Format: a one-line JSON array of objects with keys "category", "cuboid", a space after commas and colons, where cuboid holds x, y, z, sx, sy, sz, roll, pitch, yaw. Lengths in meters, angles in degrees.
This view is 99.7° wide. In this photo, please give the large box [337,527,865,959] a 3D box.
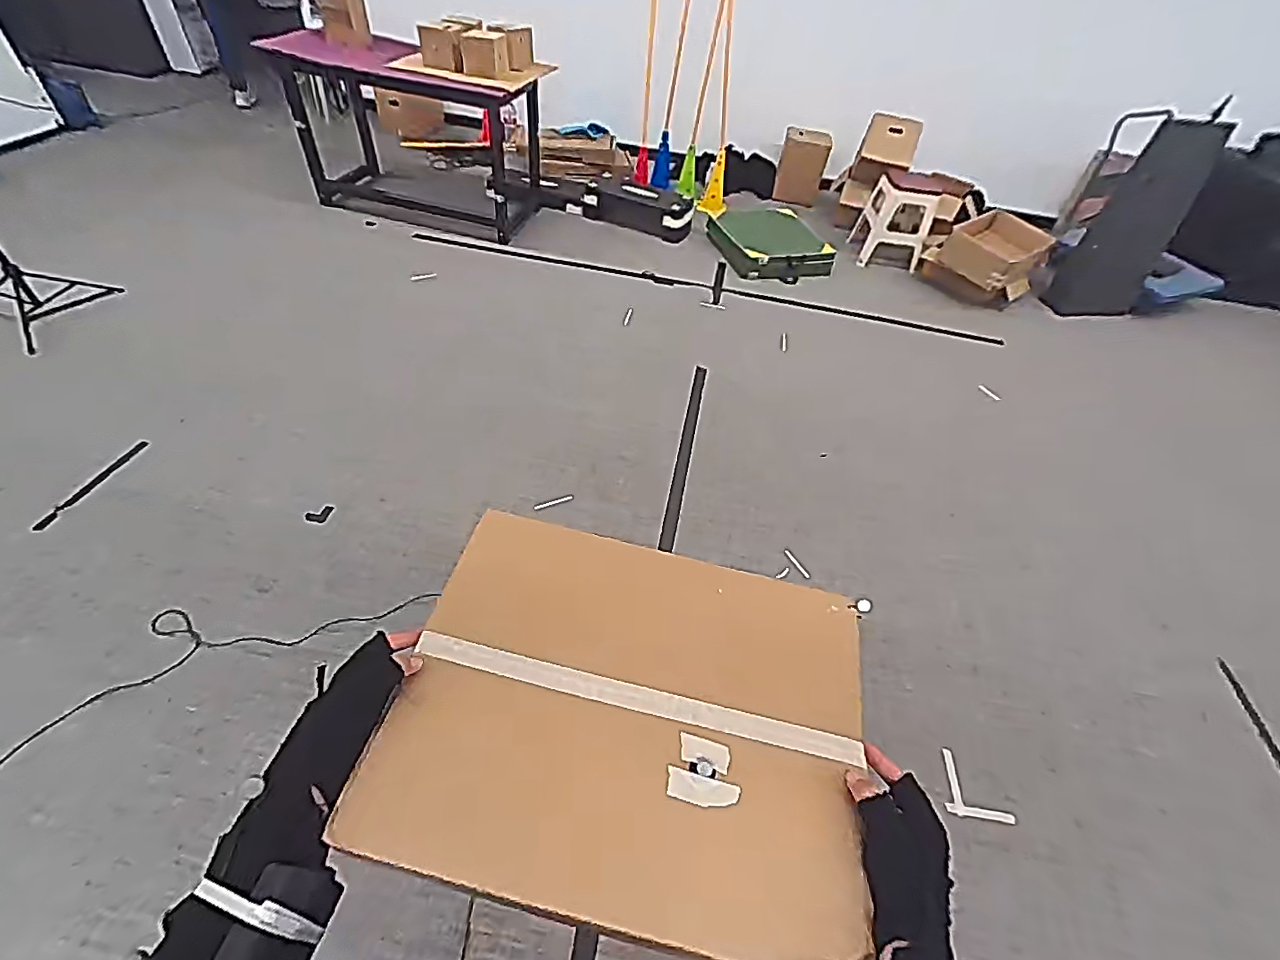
[{"category": "large box", "cuboid": [-0.021, 0.300, 0.597, 0.408, 0.320, 0.320, 14, 51, 3]}]
